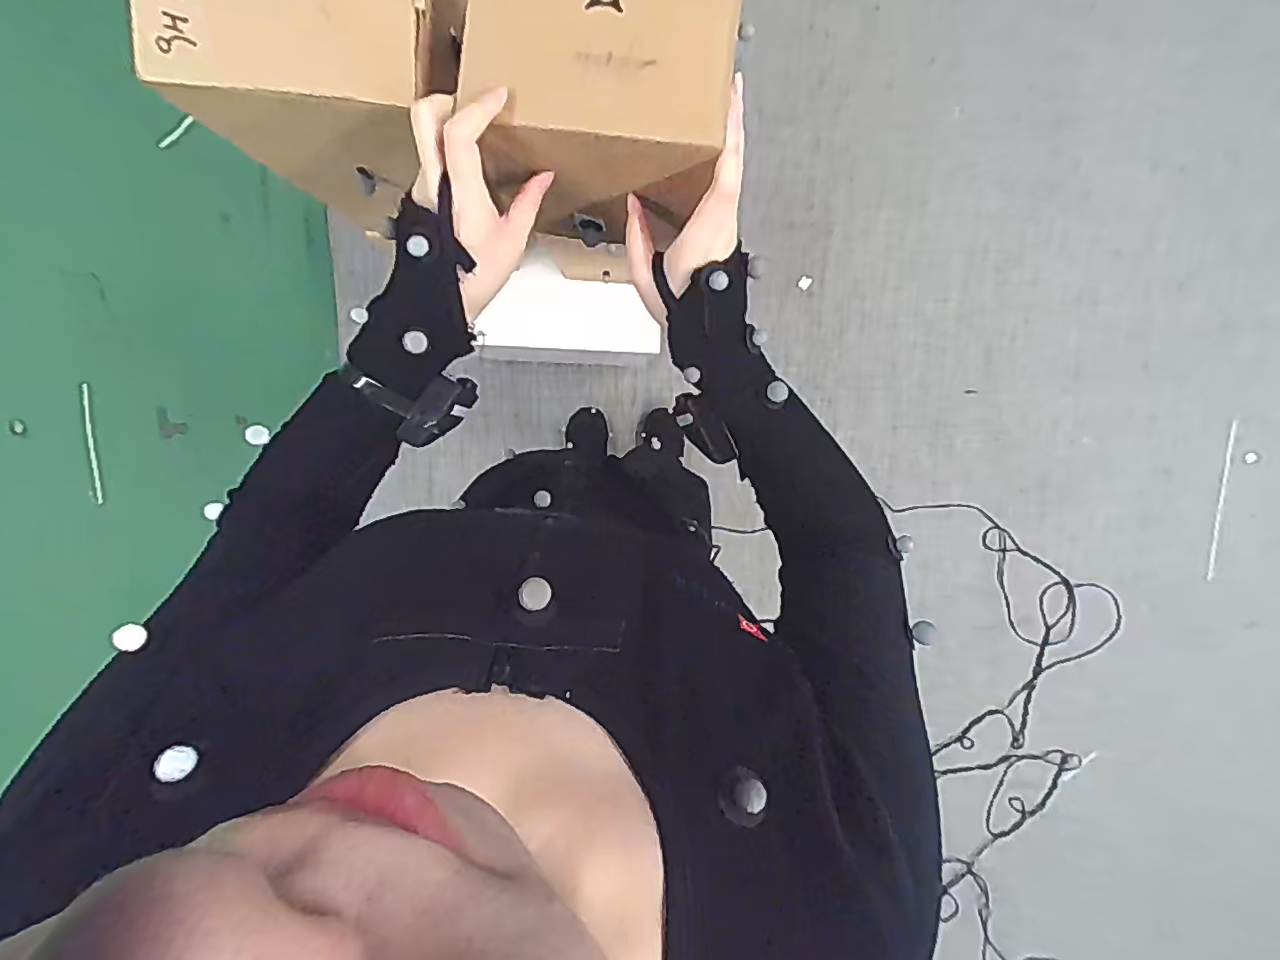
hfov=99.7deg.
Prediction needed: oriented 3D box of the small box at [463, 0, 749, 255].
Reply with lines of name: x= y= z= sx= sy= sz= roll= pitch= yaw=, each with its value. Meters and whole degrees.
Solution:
small box: x=-0.015 y=-0.297 z=0.405 sx=0.168 sy=0.176 sz=0.179 roll=7 pitch=91 yaw=1

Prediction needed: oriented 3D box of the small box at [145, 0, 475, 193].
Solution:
small box: x=-0.227 y=-0.341 z=0.418 sx=0.179 sy=0.176 sz=0.168 roll=3 pitch=99 yaw=-5

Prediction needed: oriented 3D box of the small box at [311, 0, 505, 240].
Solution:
small box: x=-0.242 y=-0.377 z=0.578 sx=0.168 sy=0.176 sz=0.179 roll=3 pitch=100 yaw=-4

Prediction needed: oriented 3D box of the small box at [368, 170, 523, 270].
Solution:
small box: x=-0.256 y=-0.400 z=0.740 sx=0.168 sy=0.176 sz=0.179 roll=2 pitch=100 yaw=-4

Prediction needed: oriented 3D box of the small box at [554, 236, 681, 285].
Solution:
small box: x=-0.025 y=-0.384 z=0.754 sx=0.168 sy=0.176 sz=0.179 roll=4 pitch=100 yaw=-2
